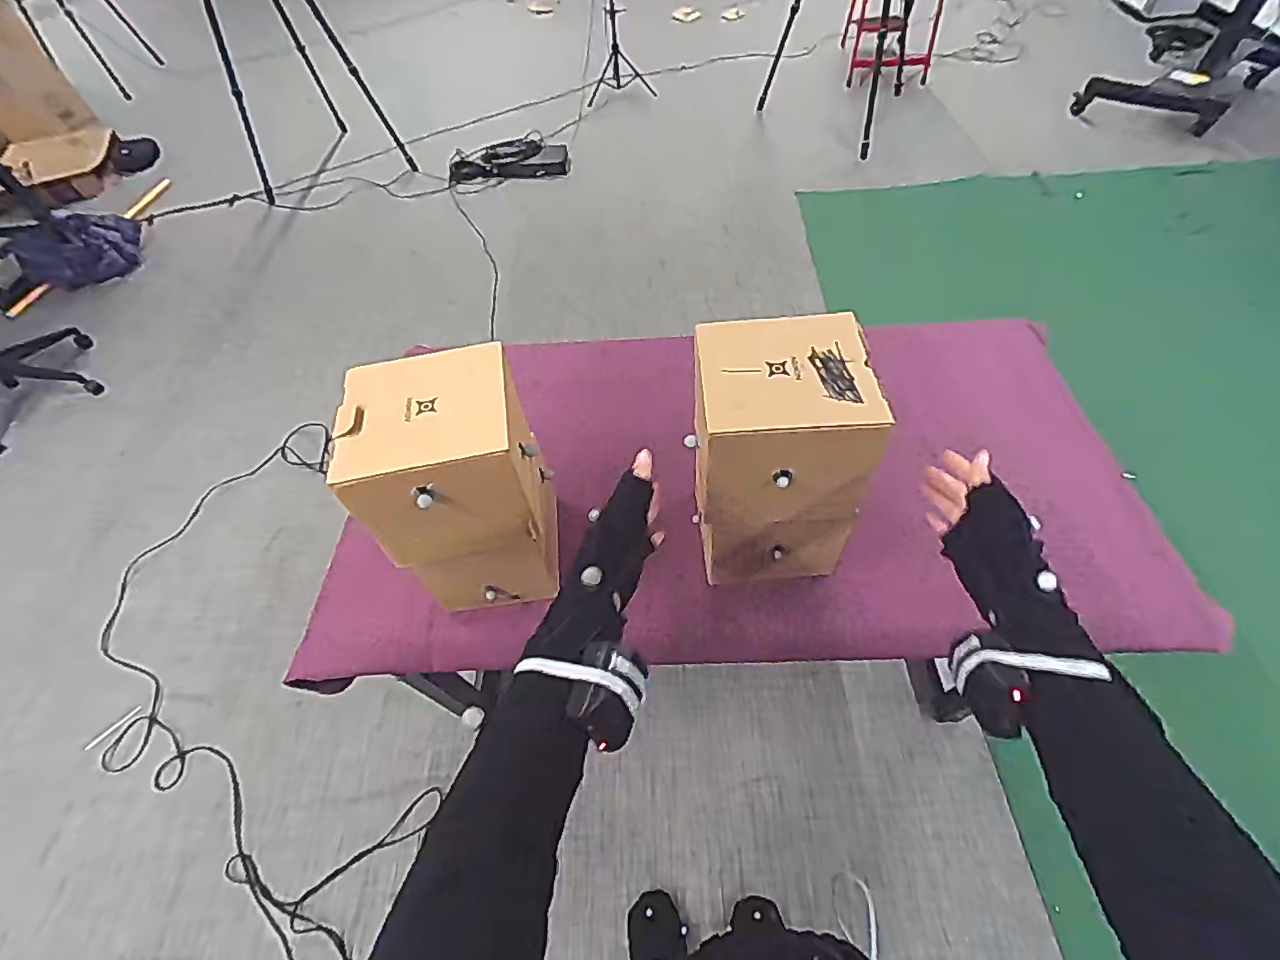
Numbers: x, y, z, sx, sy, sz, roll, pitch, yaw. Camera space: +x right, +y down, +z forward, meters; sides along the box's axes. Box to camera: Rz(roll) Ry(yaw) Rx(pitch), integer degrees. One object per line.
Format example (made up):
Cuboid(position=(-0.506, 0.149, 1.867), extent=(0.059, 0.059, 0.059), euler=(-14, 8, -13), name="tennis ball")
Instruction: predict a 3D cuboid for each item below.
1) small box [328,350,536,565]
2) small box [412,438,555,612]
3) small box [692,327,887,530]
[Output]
Cuboid(position=(-0.220, -0.022, 0.624), extent=(0.179, 0.176, 0.168), euler=(-10, 54, -4), name="small box")
Cuboid(position=(-0.215, 0.065, 0.761), extent=(0.168, 0.176, 0.179), euler=(-7, 54, -1), name="small box")
Cuboid(position=(0.153, -0.054, 0.623), extent=(0.179, 0.176, 0.168), euler=(-2, 53, 3), name="small box")
